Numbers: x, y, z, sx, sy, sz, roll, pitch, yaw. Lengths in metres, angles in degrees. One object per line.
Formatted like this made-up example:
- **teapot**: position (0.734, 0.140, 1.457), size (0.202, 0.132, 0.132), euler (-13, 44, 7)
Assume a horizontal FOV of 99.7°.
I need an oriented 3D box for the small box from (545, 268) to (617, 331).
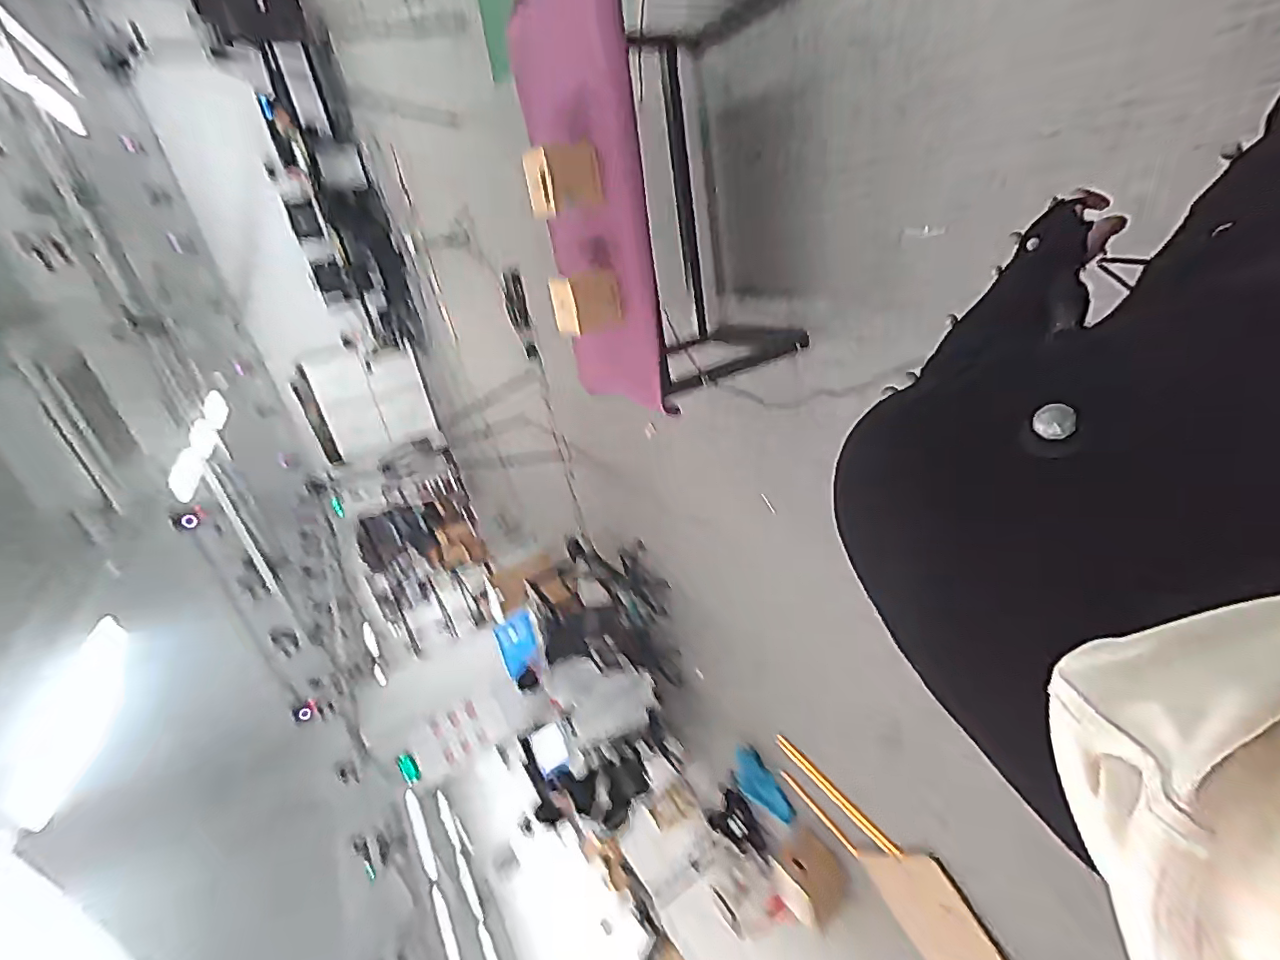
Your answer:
- **small box**: position (-0.194, -0.605, 1.799), size (0.179, 0.176, 0.168), euler (31, 136, 51)
